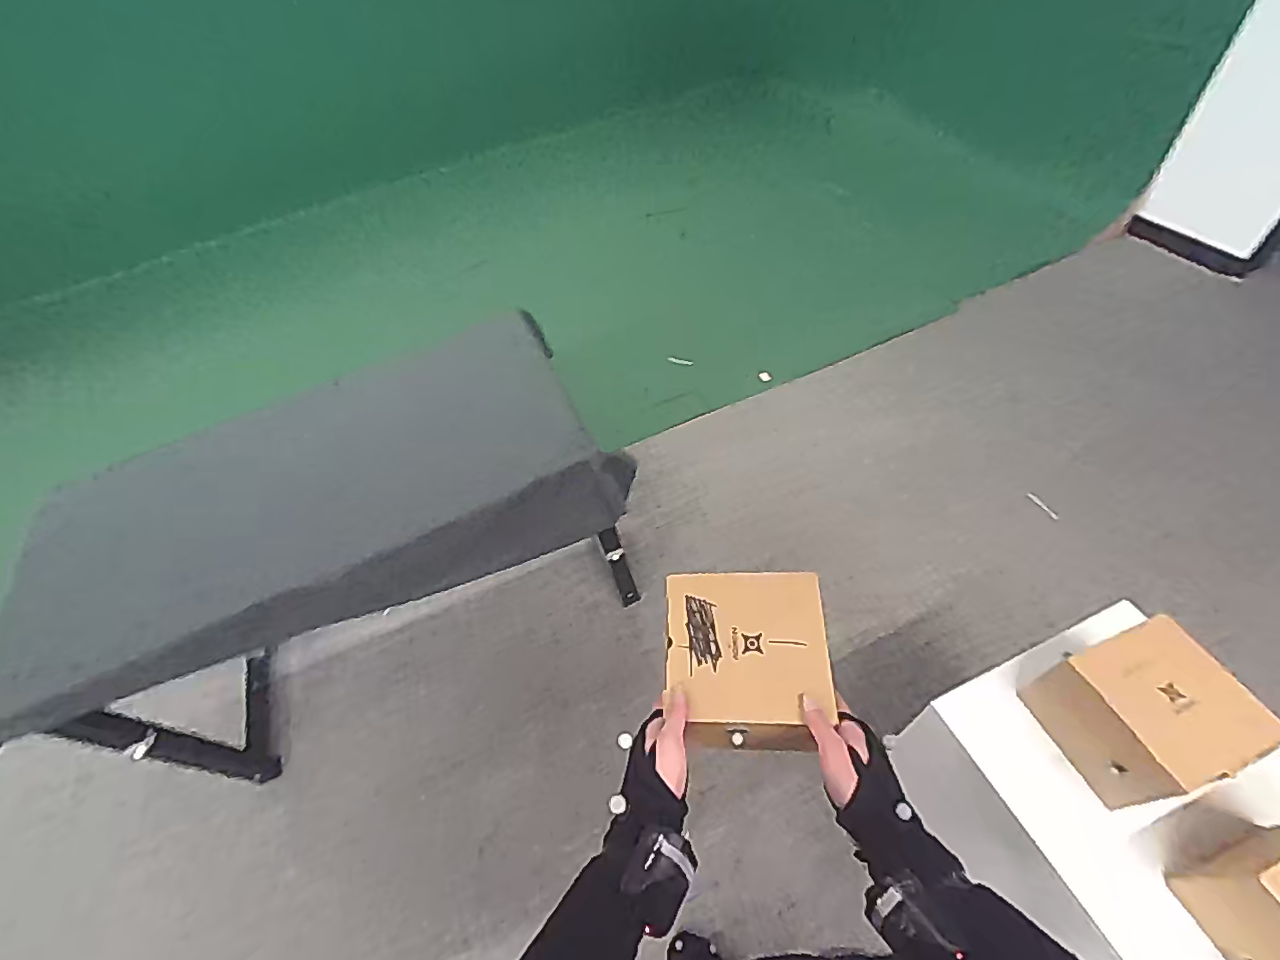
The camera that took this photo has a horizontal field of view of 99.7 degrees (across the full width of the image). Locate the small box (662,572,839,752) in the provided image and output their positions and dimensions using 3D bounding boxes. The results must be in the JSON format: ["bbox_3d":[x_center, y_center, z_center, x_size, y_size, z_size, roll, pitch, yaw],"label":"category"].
[{"bbox_3d":[0.124,0.220,0.644,0.179,0.176,0.168,-2,56,7],"label":"small box"}]

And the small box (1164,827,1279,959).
[{"bbox_3d":[0.771,0.508,0.601,0.168,0.176,0.179,-21,53,-8],"label":"small box"}]
